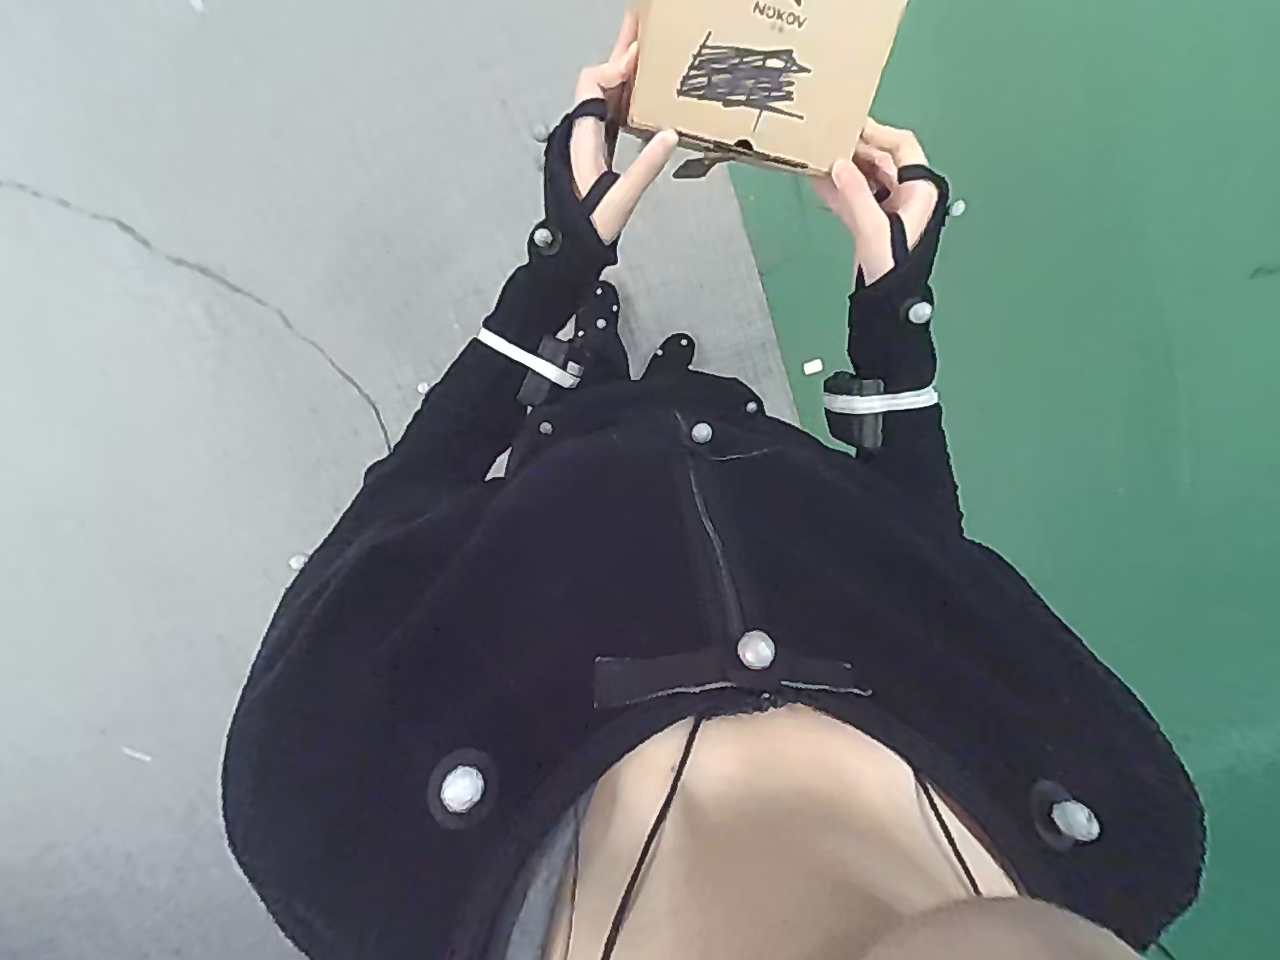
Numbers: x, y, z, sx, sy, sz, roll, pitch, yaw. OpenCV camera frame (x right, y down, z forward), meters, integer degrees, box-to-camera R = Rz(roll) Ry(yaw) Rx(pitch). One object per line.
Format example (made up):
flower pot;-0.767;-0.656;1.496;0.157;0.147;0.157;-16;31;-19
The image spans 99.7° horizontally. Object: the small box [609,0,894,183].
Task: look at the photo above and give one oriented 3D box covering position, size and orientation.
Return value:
small box;0.072;-0.344;0.413;0.168;0.176;0.179;5;119;-12
